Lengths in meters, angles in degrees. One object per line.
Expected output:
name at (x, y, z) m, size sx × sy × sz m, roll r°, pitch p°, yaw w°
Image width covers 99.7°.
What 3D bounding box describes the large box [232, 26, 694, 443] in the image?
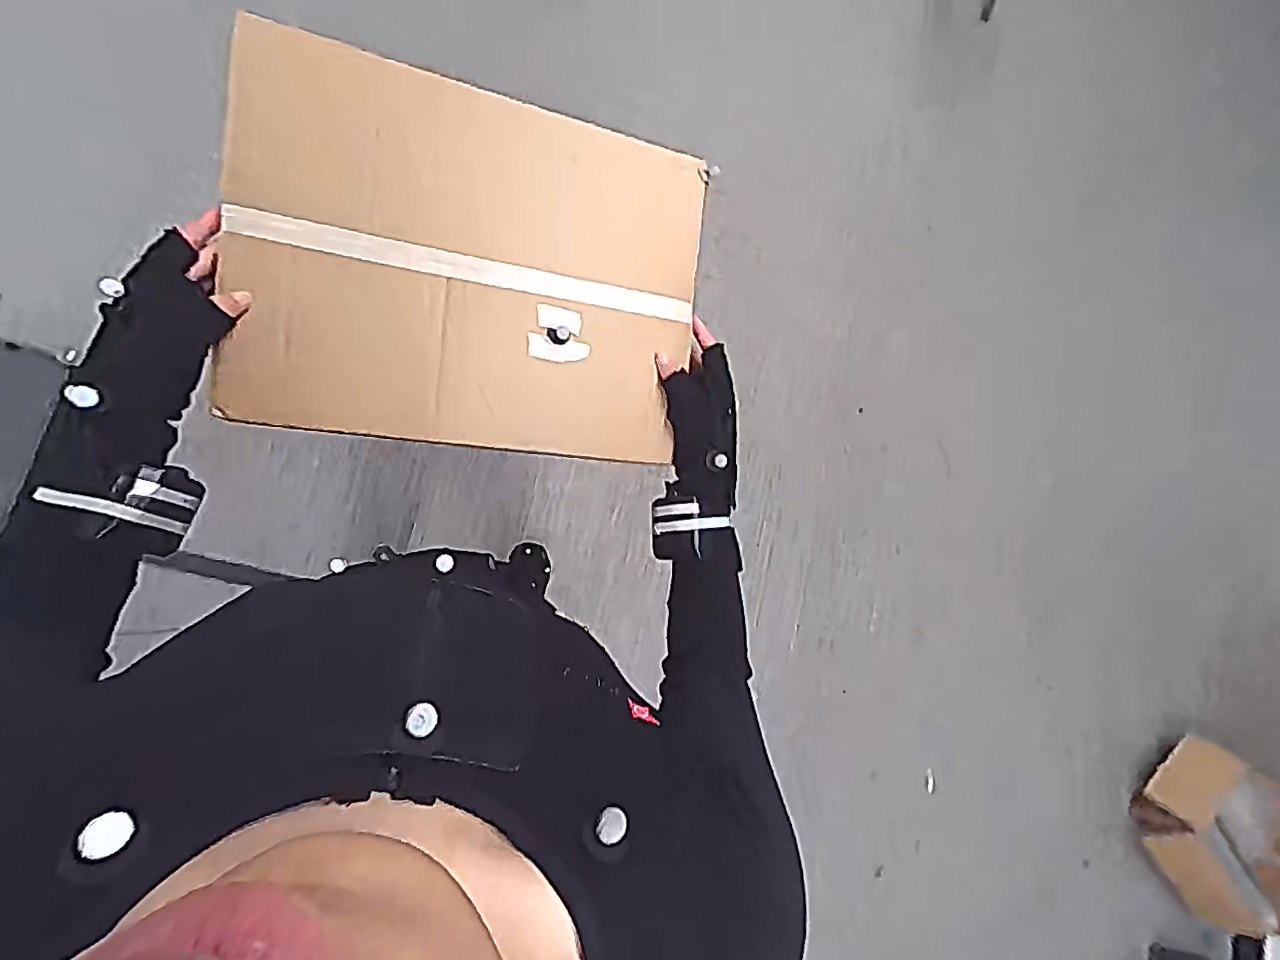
large box at (-0.191, -0.209, 0.637) m, size 0.408 × 0.320 × 0.320 m, roll 3°, pitch 94°, yaw -21°
